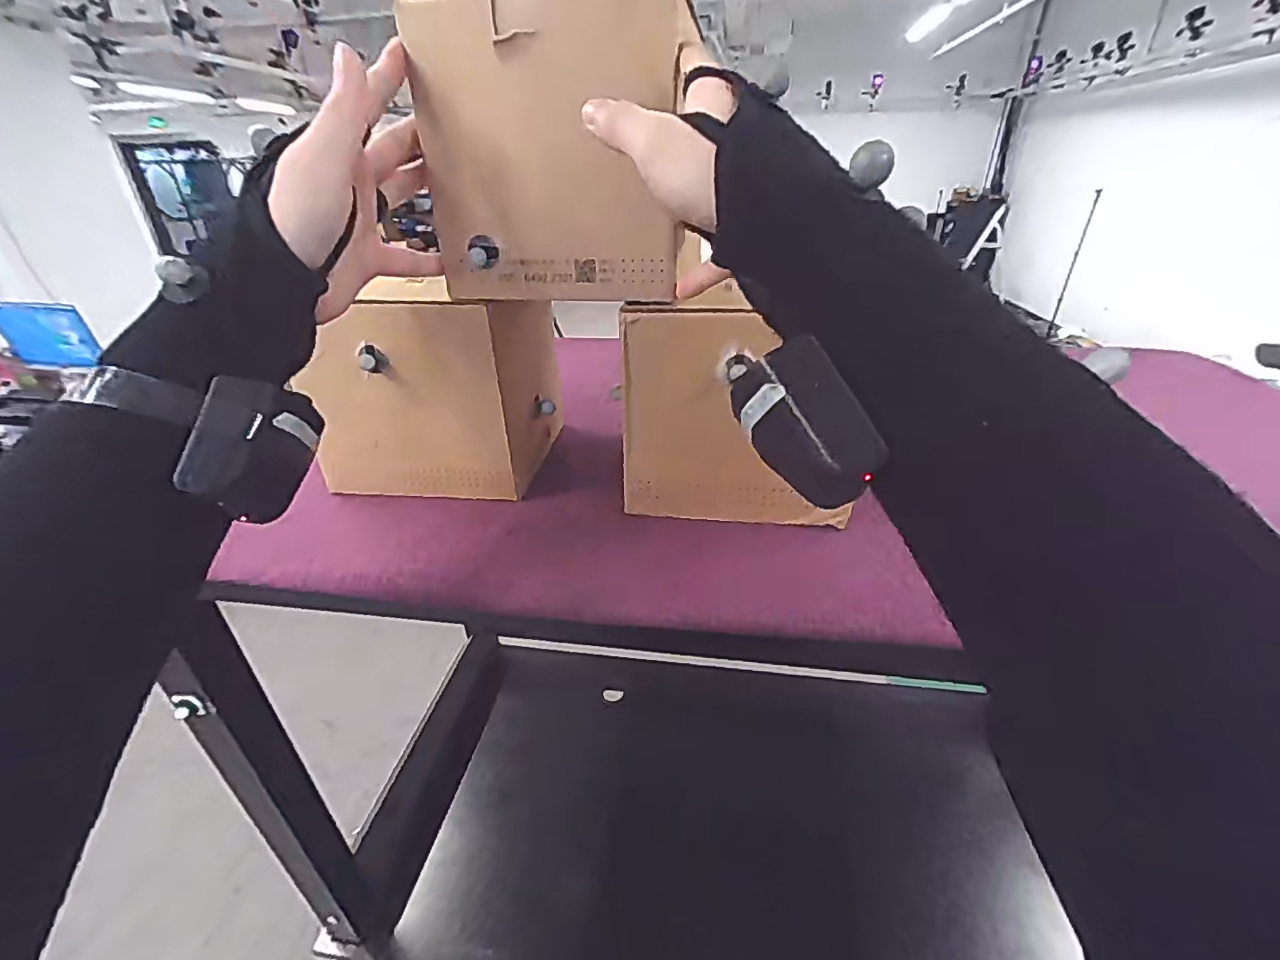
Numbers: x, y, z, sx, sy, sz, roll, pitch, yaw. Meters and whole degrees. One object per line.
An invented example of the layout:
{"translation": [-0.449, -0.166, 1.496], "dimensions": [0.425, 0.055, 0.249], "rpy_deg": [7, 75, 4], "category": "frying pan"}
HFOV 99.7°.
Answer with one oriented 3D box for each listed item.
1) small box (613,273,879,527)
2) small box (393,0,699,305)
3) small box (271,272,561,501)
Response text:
{"translation": [0.081, -0.074, 0.457], "dimensions": [0.179, 0.176, 0.168], "rpy_deg": [3, 29, 8], "category": "small box"}
{"translation": [-0.045, -0.232, 0.408], "dimensions": [0.168, 0.176, 0.179], "rpy_deg": [4, 29, 10], "category": "small box"}
{"translation": [-0.182, -0.092, 0.503], "dimensions": [0.179, 0.176, 0.168], "rpy_deg": [2, 31, 6], "category": "small box"}
